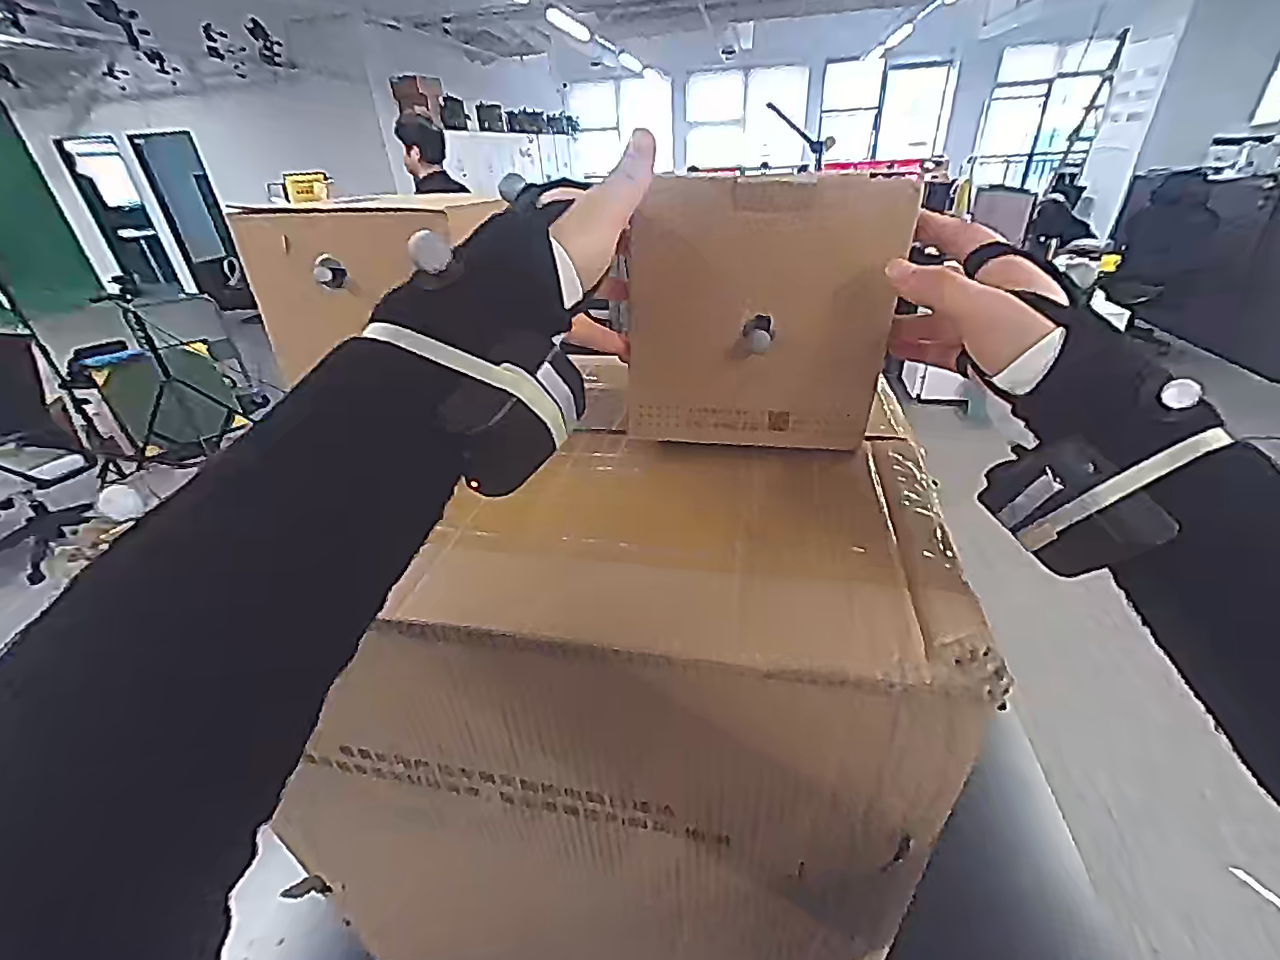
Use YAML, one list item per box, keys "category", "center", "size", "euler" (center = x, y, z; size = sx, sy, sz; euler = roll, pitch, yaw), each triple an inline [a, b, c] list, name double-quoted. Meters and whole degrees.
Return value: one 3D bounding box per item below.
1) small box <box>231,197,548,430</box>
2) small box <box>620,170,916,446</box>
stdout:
- category: "small box"
  center: [-0.197, -0.153, 0.482]
  size: [0.179, 0.176, 0.168]
  euler: [5, 31, 10]
- category: "small box"
  center: [0.078, -0.134, 0.408]
  size: [0.168, 0.176, 0.179]
  euler: [3, 29, 4]
